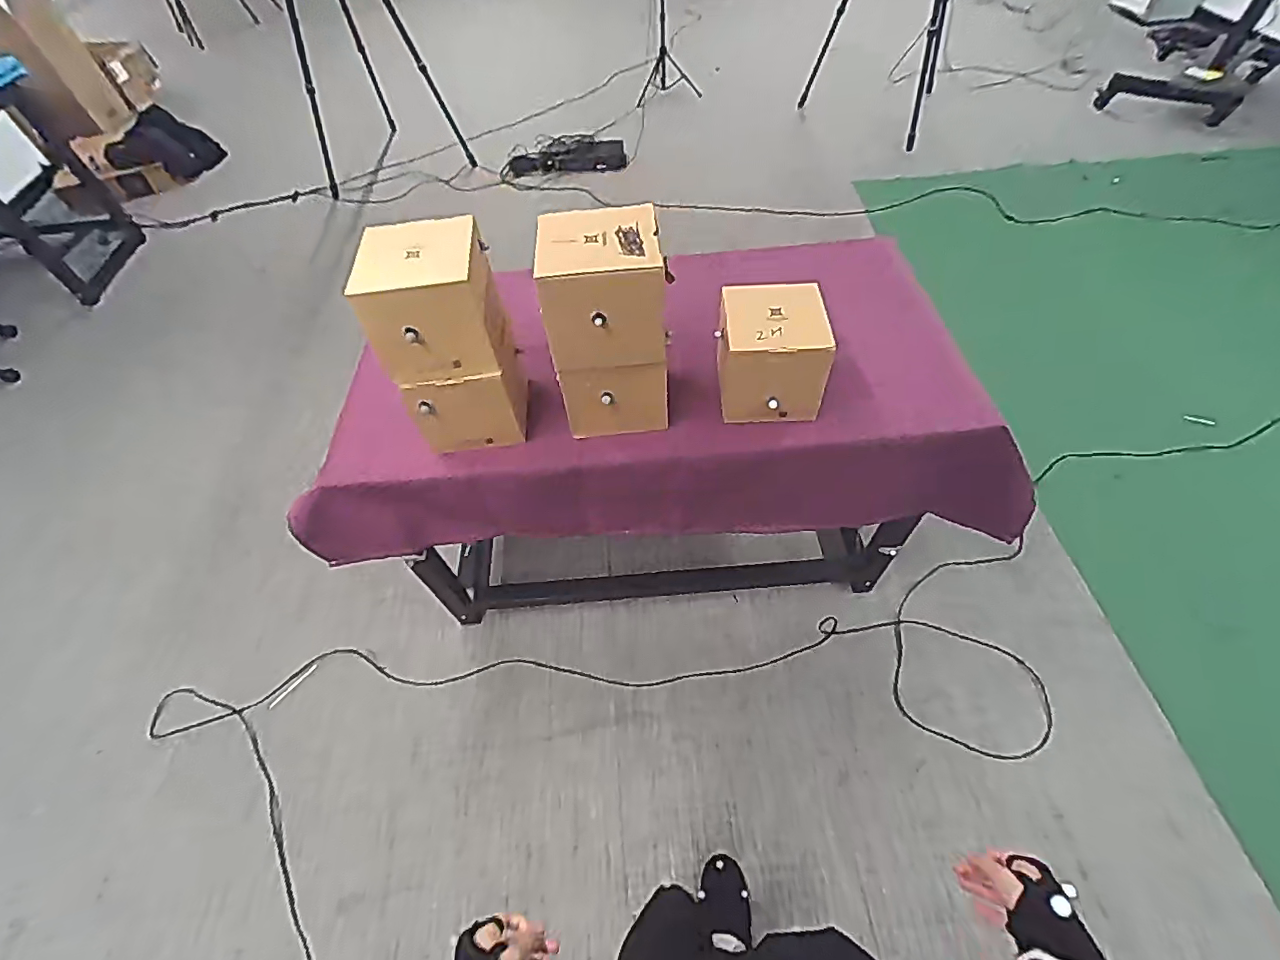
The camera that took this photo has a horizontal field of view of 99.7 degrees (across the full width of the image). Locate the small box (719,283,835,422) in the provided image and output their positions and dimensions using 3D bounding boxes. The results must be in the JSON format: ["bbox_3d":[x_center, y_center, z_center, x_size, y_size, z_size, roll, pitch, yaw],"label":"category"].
[{"bbox_3d":[0.229,-0.222,0.952,0.168,0.176,0.179,-1,54,4],"label":"small box"}]

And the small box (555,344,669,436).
[{"bbox_3d":[-0.046,-0.193,0.957,0.179,0.176,0.168,-6,54,0],"label":"small box"}]

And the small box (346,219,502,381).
[{"bbox_3d":[-0.316,-0.268,0.832,0.168,0.176,0.179,-9,53,-2],"label":"small box"}]

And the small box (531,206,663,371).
[{"bbox_3d":[-0.057,-0.285,0.821,0.179,0.176,0.168,-5,53,1],"label":"small box"}]
